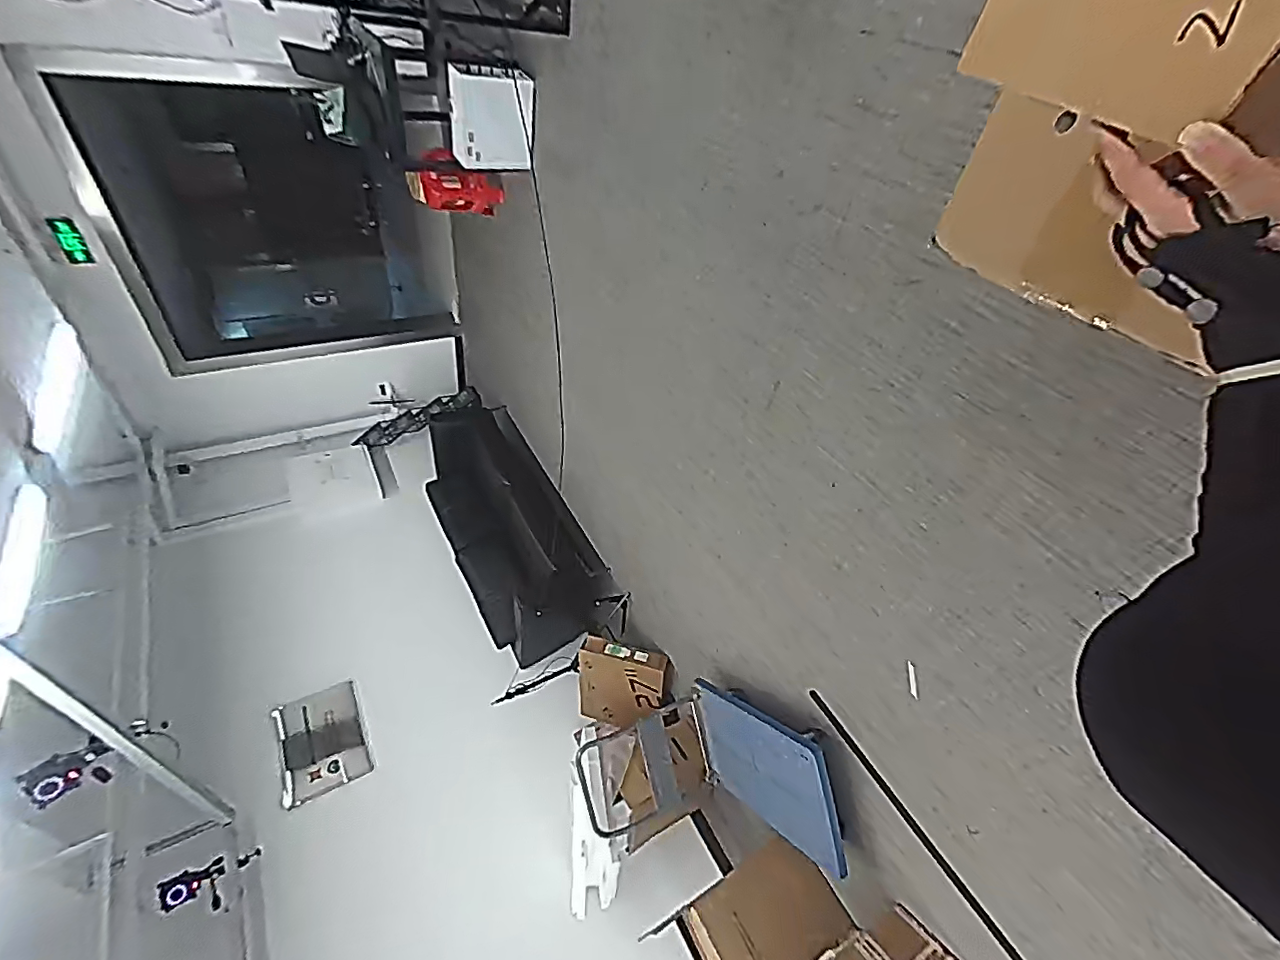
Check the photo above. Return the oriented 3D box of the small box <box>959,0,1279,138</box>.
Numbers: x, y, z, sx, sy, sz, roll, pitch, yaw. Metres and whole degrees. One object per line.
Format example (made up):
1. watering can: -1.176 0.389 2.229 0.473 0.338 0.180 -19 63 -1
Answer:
1. small box: 0.351 -0.320 0.321 0.179 0.176 0.168 55 149 33
